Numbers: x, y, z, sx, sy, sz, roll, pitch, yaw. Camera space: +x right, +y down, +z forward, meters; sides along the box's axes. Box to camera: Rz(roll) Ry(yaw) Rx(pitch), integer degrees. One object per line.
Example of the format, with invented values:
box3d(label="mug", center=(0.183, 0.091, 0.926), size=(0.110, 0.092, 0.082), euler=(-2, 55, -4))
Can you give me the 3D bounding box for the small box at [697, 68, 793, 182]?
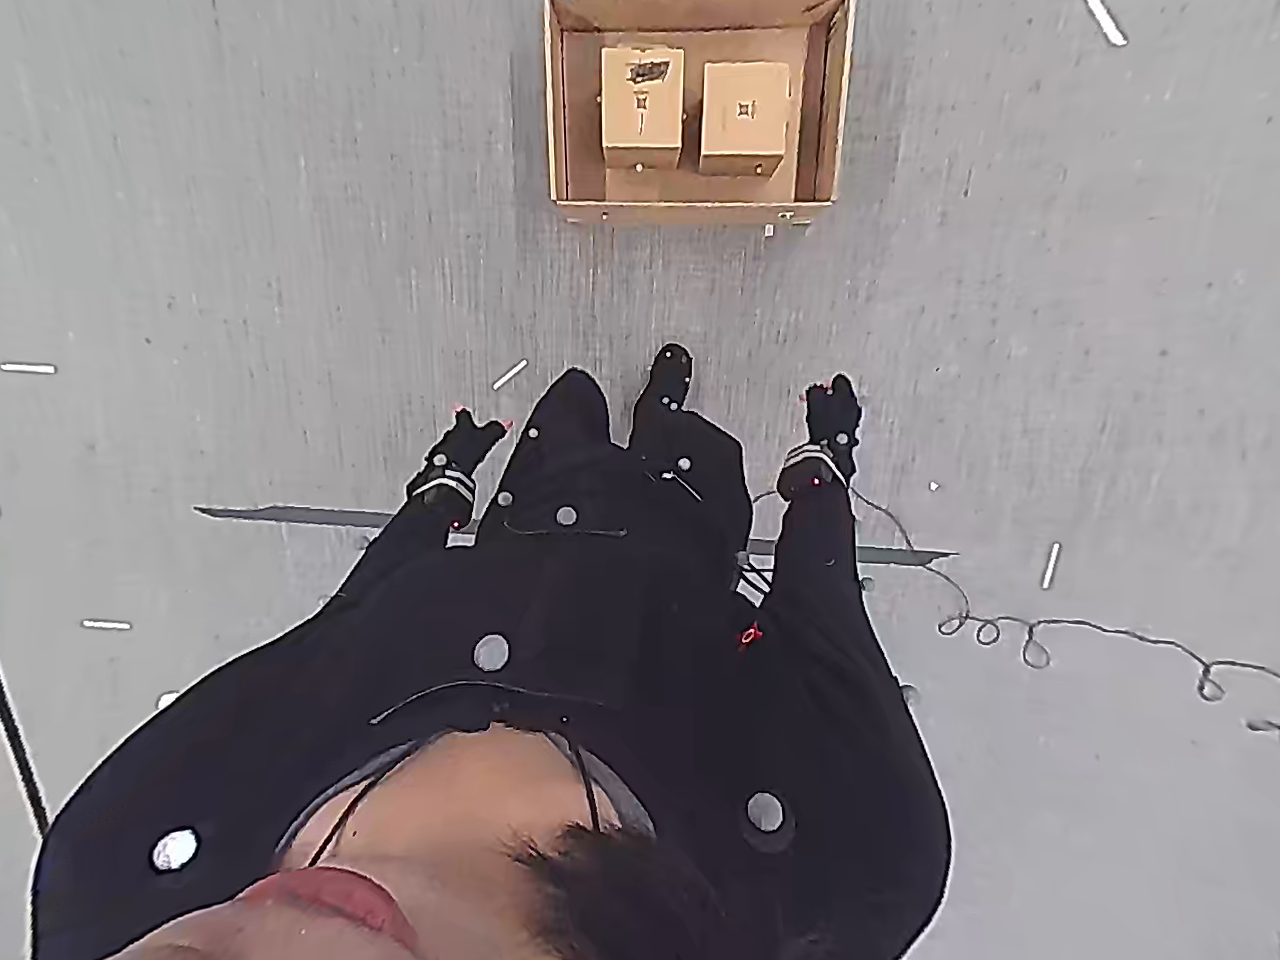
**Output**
box3d(label="small box", center=(0.220, -0.763, 1.176), size=(0.179, 0.176, 0.168), euler=(2, 105, 3))
